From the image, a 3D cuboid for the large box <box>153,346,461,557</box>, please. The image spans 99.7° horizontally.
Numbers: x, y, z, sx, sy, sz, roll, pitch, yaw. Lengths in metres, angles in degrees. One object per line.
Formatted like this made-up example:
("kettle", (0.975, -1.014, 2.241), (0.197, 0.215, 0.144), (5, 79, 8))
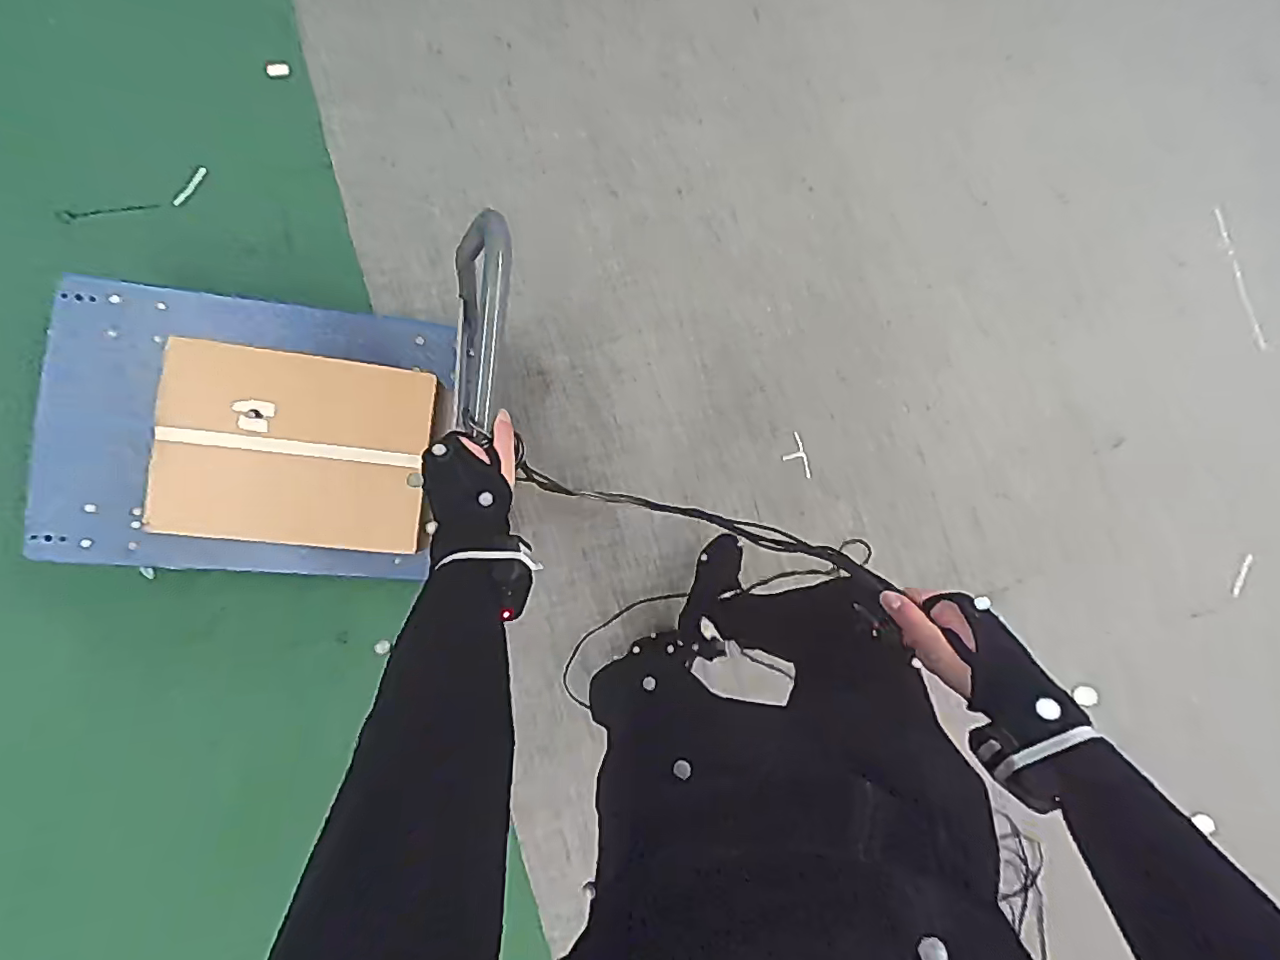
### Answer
("large box", (-0.580, -0.040, 1.032), (0.408, 0.320, 0.320), (7, 87, -11))
